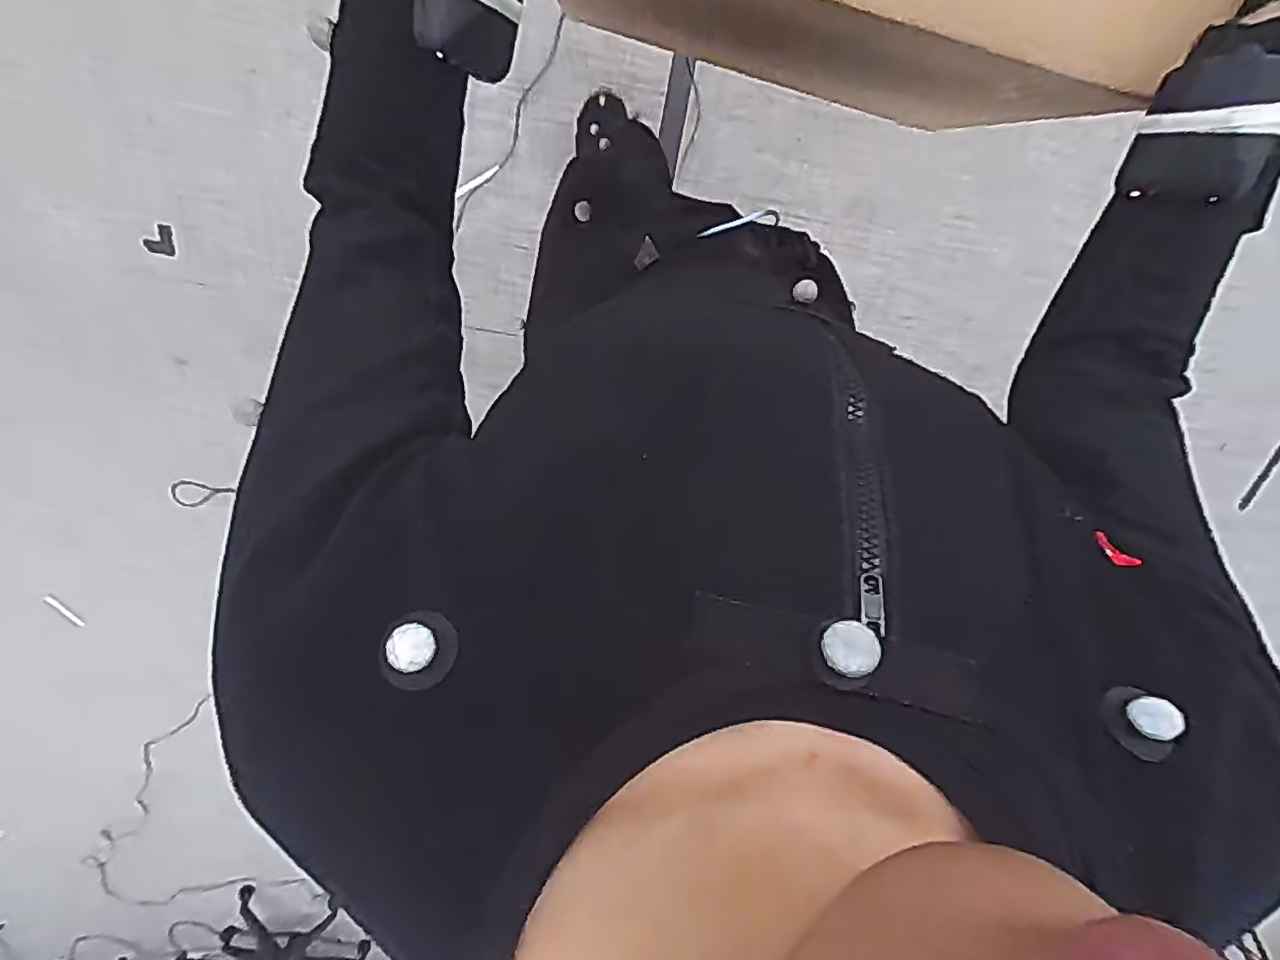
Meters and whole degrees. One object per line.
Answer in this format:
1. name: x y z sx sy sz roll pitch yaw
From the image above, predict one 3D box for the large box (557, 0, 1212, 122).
1. large box: 0.150 -0.470 0.358 0.408 0.320 0.320 11 122 -7
